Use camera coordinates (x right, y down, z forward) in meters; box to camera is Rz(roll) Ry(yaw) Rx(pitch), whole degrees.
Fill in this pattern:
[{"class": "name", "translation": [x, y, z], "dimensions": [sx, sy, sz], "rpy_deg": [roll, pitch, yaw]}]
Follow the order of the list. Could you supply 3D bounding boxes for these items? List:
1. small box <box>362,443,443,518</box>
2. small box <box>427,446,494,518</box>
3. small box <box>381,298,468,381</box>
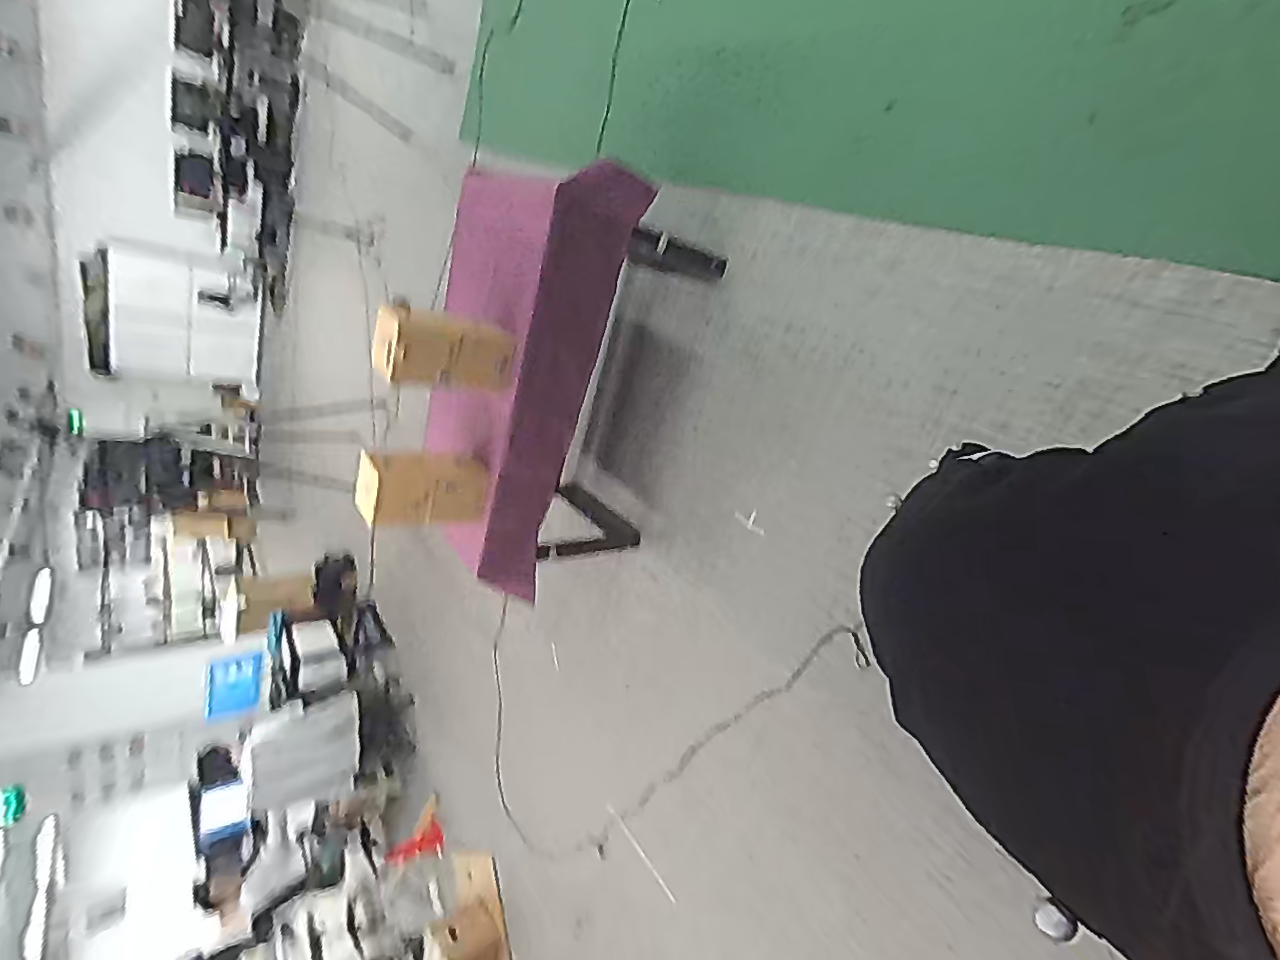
[{"class": "small box", "translation": [-0.715, 0.003, 1.629], "dimensions": [0.179, 0.176, 0.168], "rpy_deg": [38, 117, 40]}, {"class": "small box", "translation": [-0.588, 0.006, 1.732], "dimensions": [0.168, 0.176, 0.179], "rpy_deg": [38, 117, 42]}, {"class": "small box", "translation": [-0.595, -0.383, 1.497], "dimensions": [0.179, 0.176, 0.168], "rpy_deg": [41, 119, 41]}]
